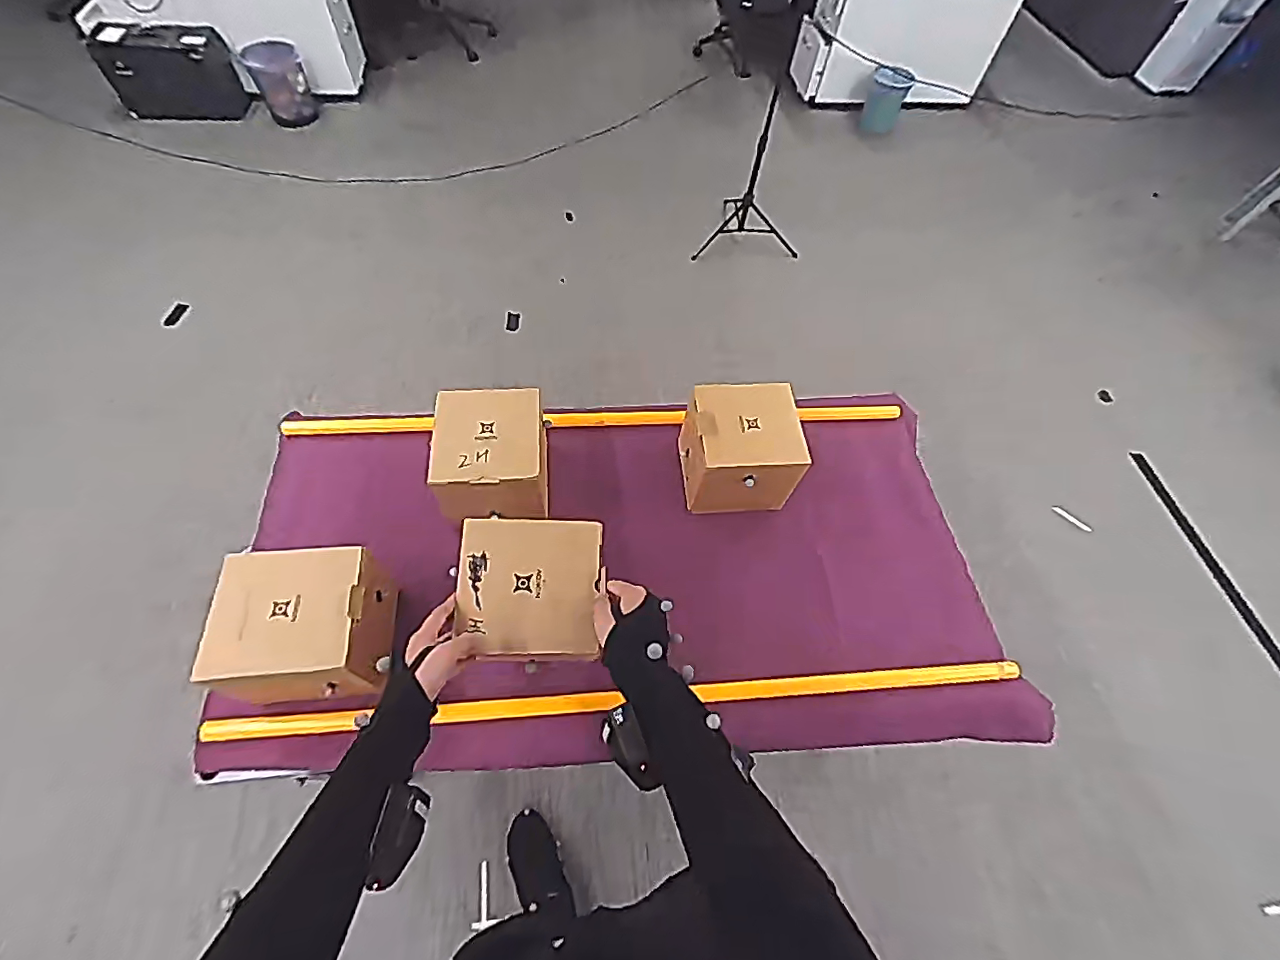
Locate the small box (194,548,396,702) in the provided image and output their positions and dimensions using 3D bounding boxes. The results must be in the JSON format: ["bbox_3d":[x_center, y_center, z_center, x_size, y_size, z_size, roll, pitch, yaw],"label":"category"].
[{"bbox_3d":[-0.459,0.206,0.759,0.179,0.176,0.168,-2,59,-9],"label":"small box"}]

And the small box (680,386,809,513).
[{"bbox_3d":[0.175,-0.051,0.965,0.179,0.176,0.168,-3,61,-5],"label":"small box"}]

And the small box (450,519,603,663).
[{"bbox_3d":[-0.146,0.158,0.739,0.179,0.176,0.168,3,68,-7],"label":"small box"}]

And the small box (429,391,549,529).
[{"bbox_3d":[-0.245,-0.032,0.919,0.168,0.176,0.179,-3,61,-6],"label":"small box"}]
